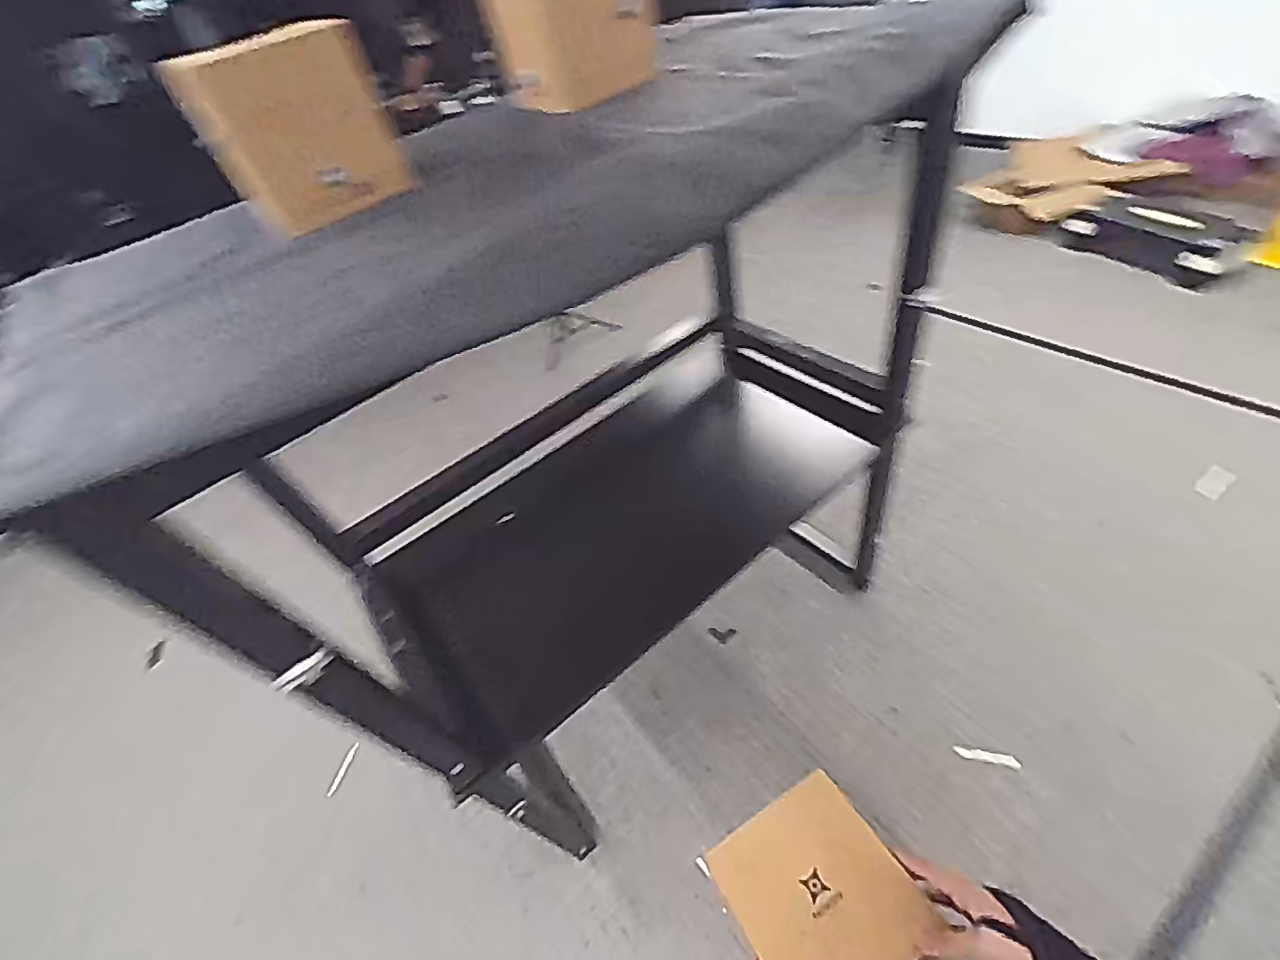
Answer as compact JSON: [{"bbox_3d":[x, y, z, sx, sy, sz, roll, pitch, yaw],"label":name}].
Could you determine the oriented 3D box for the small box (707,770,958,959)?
[{"bbox_3d":[0.195,0.464,0.576,0.168,0.176,0.179,-29,39,-15],"label":"small box"}]

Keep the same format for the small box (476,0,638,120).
[{"bbox_3d":[-0.118,-0.656,0.792,0.179,0.176,0.168,-35,48,-17],"label":"small box"}]
